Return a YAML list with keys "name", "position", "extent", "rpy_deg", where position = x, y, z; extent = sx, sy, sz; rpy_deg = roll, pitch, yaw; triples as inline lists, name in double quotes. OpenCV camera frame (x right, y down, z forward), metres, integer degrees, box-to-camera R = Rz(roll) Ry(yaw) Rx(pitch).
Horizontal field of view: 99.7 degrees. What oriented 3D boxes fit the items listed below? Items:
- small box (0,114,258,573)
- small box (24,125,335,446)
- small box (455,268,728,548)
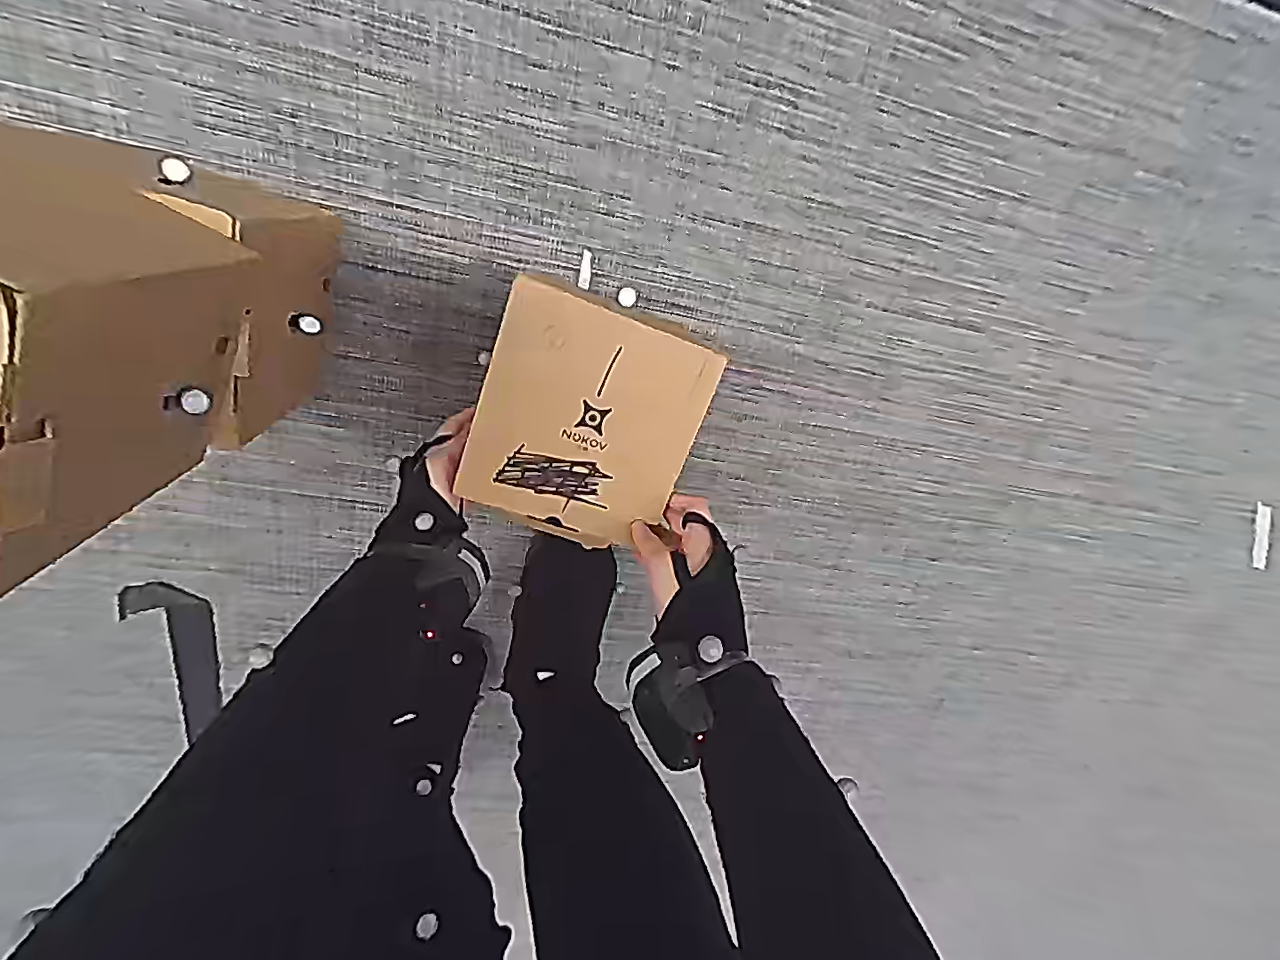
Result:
- name: "small box"
  position: [-0.338, -0.078, 0.261]
  extent: [0.179, 0.176, 0.168]
  rpy_deg: [26, 112, -18]
- name: "small box"
  position: [-0.356, -0.150, 0.410]
  extent: [0.179, 0.176, 0.168]
  rpy_deg: [14, 114, -14]
- name: "small box"
  position: [-0.045, -0.072, 0.481]
  extent: [0.168, 0.176, 0.179]
  rpy_deg: [18, 110, -13]
